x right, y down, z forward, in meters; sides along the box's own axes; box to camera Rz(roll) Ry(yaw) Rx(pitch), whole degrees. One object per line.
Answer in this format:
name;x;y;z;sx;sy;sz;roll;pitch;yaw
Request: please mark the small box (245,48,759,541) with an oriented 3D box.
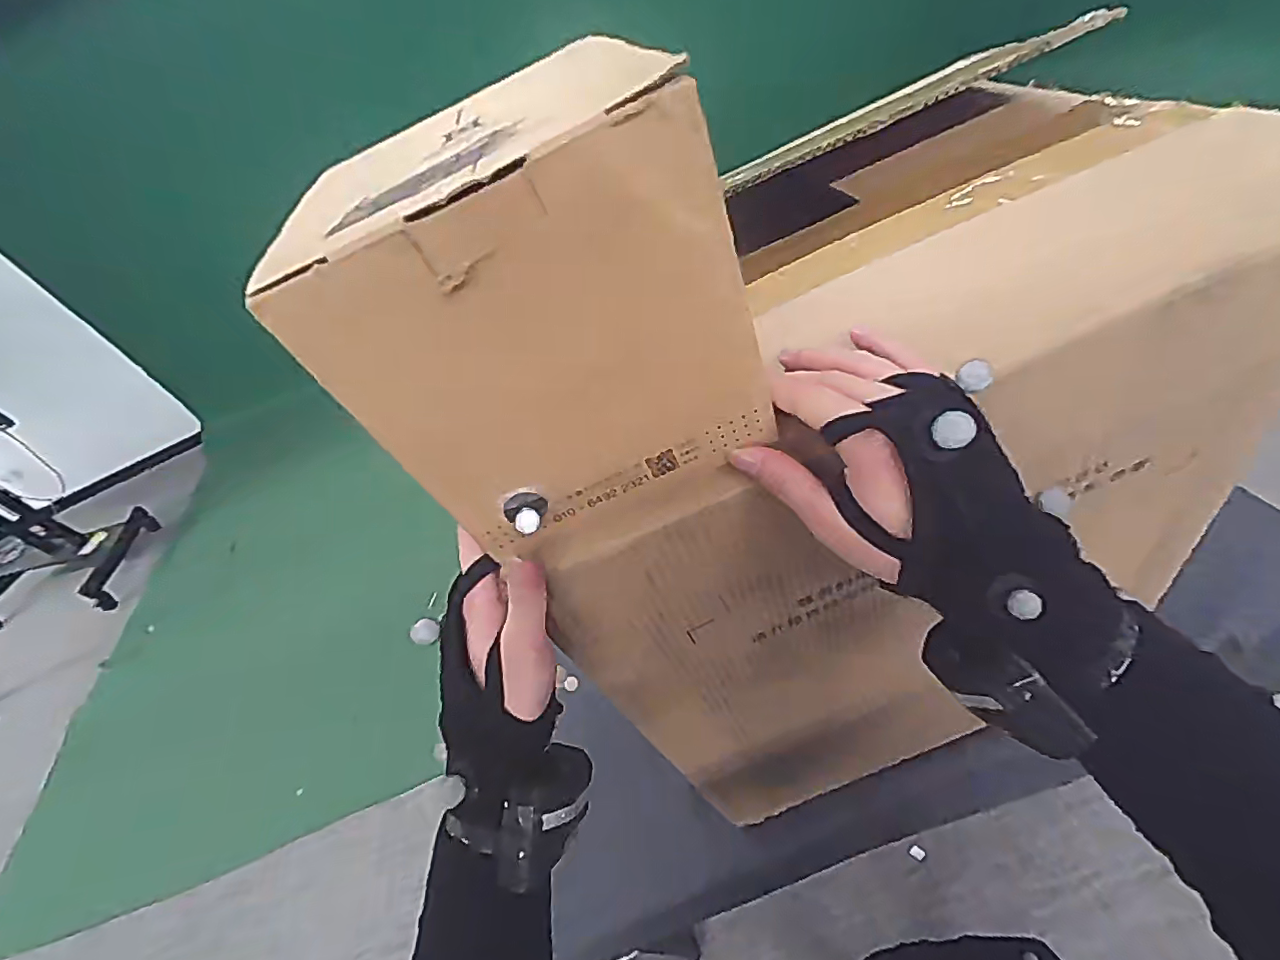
small box;-0.052;-0.089;0.292;0.168;0.176;0.179;-24;43;5
